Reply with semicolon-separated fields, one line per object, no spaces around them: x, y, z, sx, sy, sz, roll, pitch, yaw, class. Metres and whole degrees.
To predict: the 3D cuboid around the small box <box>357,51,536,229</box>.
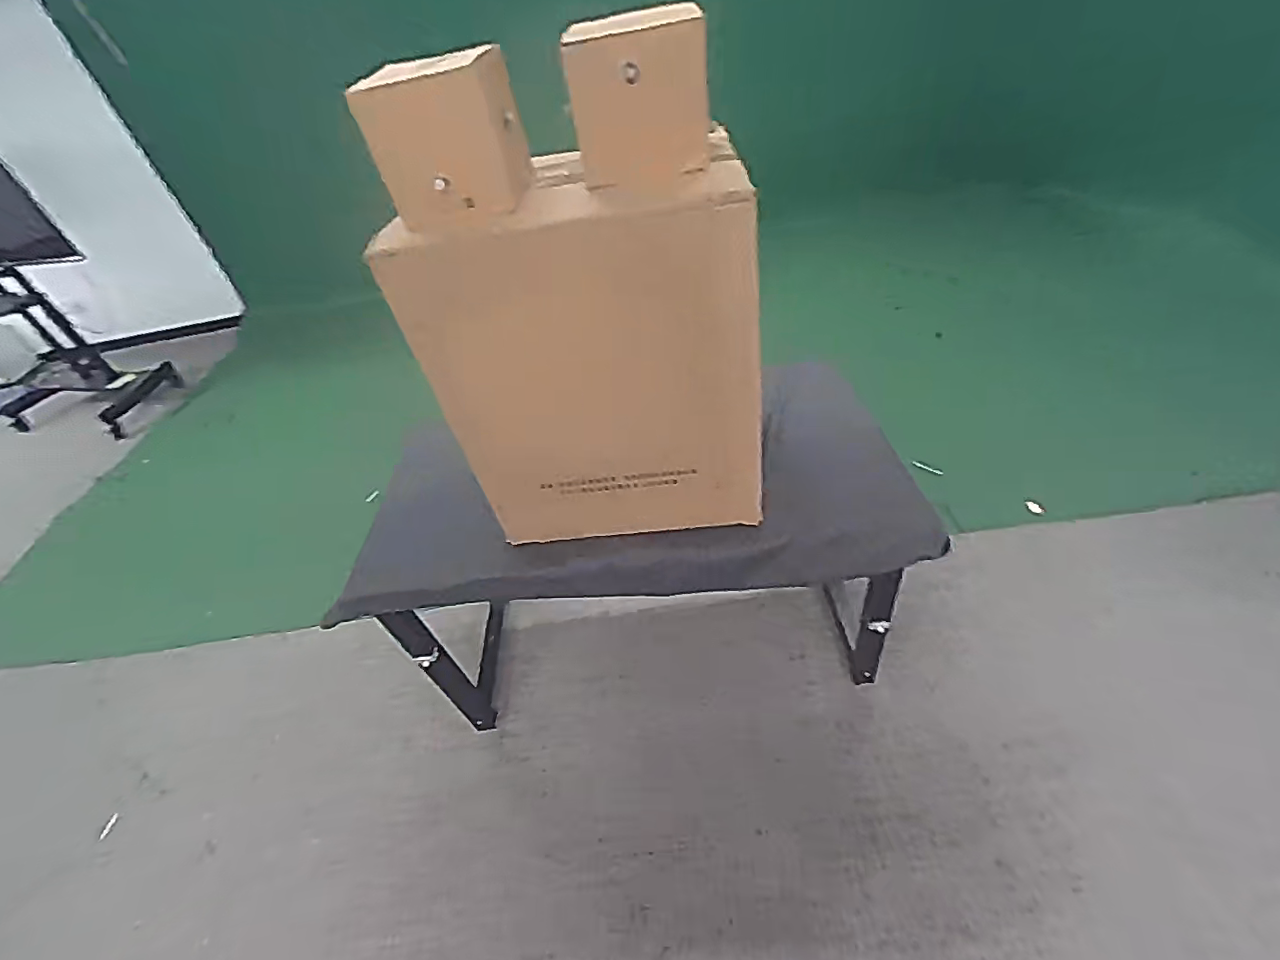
-0.256;-0.481;0.770;0.168;0.176;0.179;-6;45;7;small box

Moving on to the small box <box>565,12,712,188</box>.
0.005;-0.529;0.760;0.179;0.176;0.168;-5;46;4;small box
